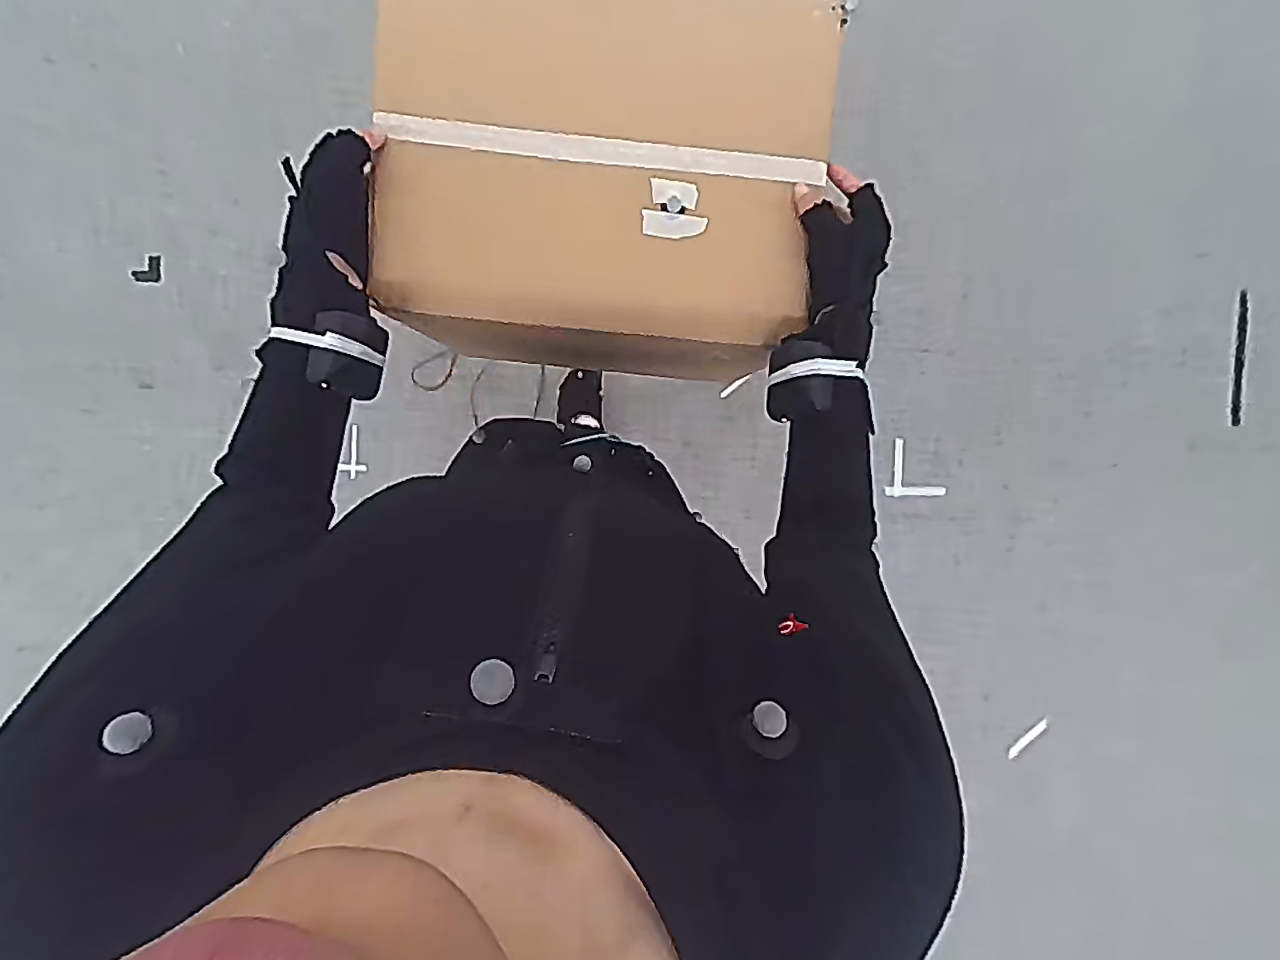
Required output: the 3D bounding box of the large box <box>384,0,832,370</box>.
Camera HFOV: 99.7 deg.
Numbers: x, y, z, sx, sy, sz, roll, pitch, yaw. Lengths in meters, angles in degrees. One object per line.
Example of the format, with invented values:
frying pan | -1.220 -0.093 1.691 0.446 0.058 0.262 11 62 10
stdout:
large box | -0.039 -0.317 0.648 0.408 0.320 0.320 5 96 -3
